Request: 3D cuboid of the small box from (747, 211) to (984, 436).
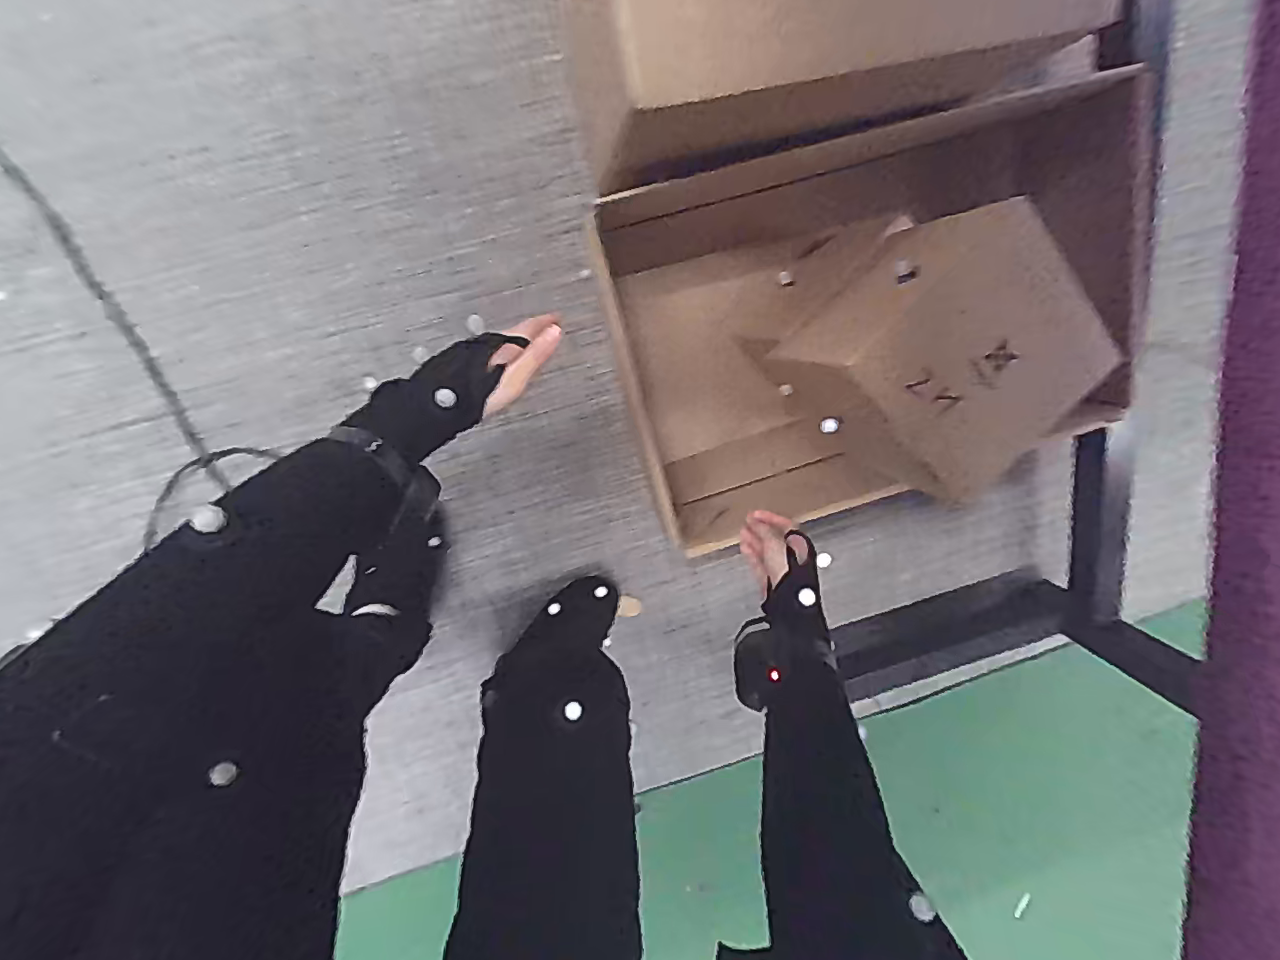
[{"bbox_3d":[0.251,-0.183,0.653,0.179,0.176,0.168,-45,109,5],"label":"small box"}]
